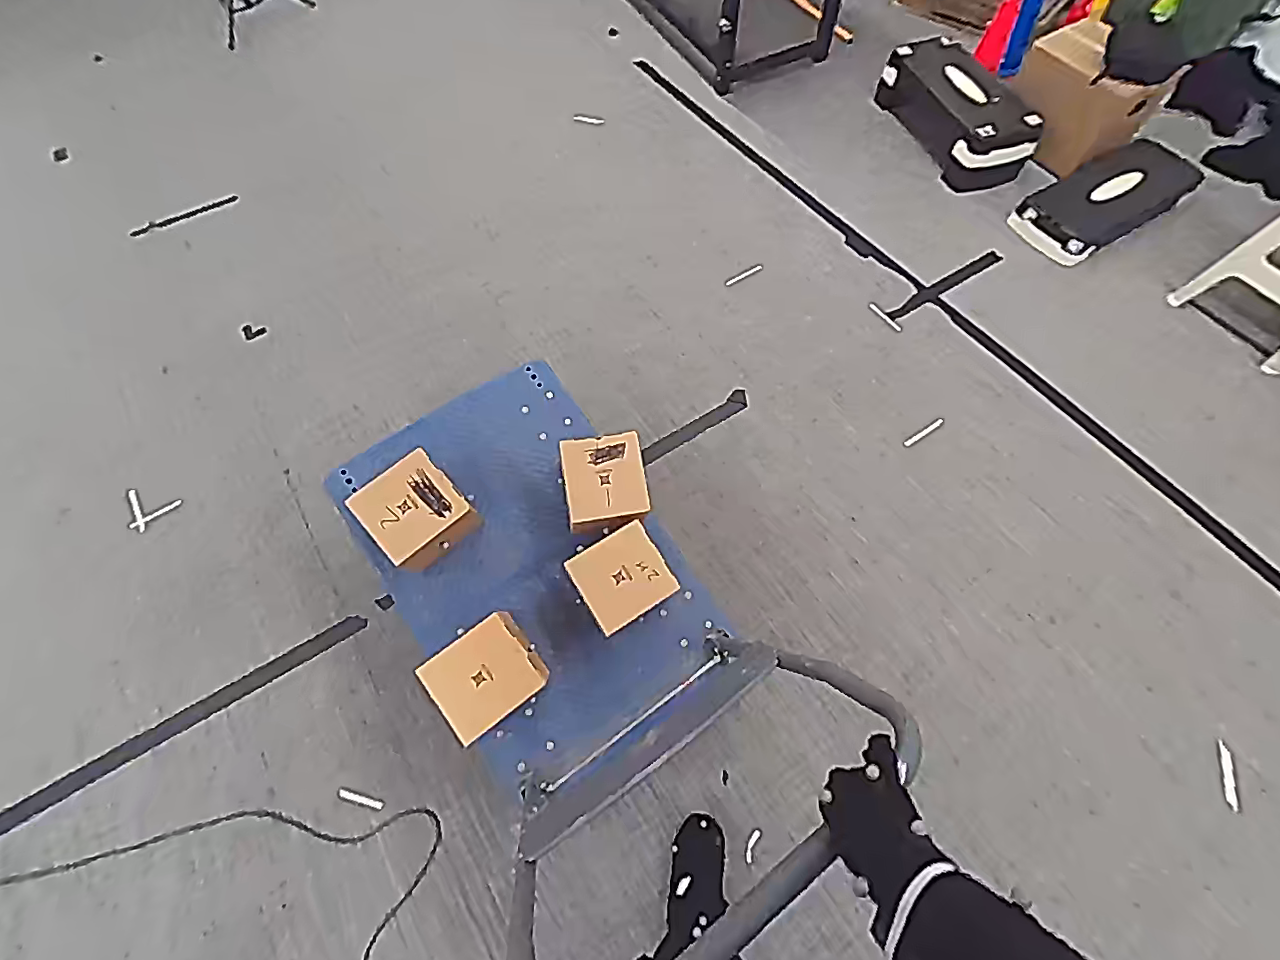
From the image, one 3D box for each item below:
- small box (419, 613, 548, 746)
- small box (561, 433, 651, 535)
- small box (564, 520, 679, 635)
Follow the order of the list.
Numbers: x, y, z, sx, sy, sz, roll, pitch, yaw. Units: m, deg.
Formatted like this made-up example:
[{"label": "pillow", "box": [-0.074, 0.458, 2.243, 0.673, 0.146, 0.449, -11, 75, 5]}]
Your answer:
[{"label": "small box", "box": [-0.295, 0.384, 1.065, 0.179, 0.176, 0.168, -36, 82, -15]}, {"label": "small box", "box": [-0.081, 0.013, 1.182, 0.168, 0.176, 0.179, -9, 78, -8]}, {"label": "small box", "box": [-0.042, 0.209, 1.137, 0.179, 0.176, 0.168, -31, 82, -13]}]
